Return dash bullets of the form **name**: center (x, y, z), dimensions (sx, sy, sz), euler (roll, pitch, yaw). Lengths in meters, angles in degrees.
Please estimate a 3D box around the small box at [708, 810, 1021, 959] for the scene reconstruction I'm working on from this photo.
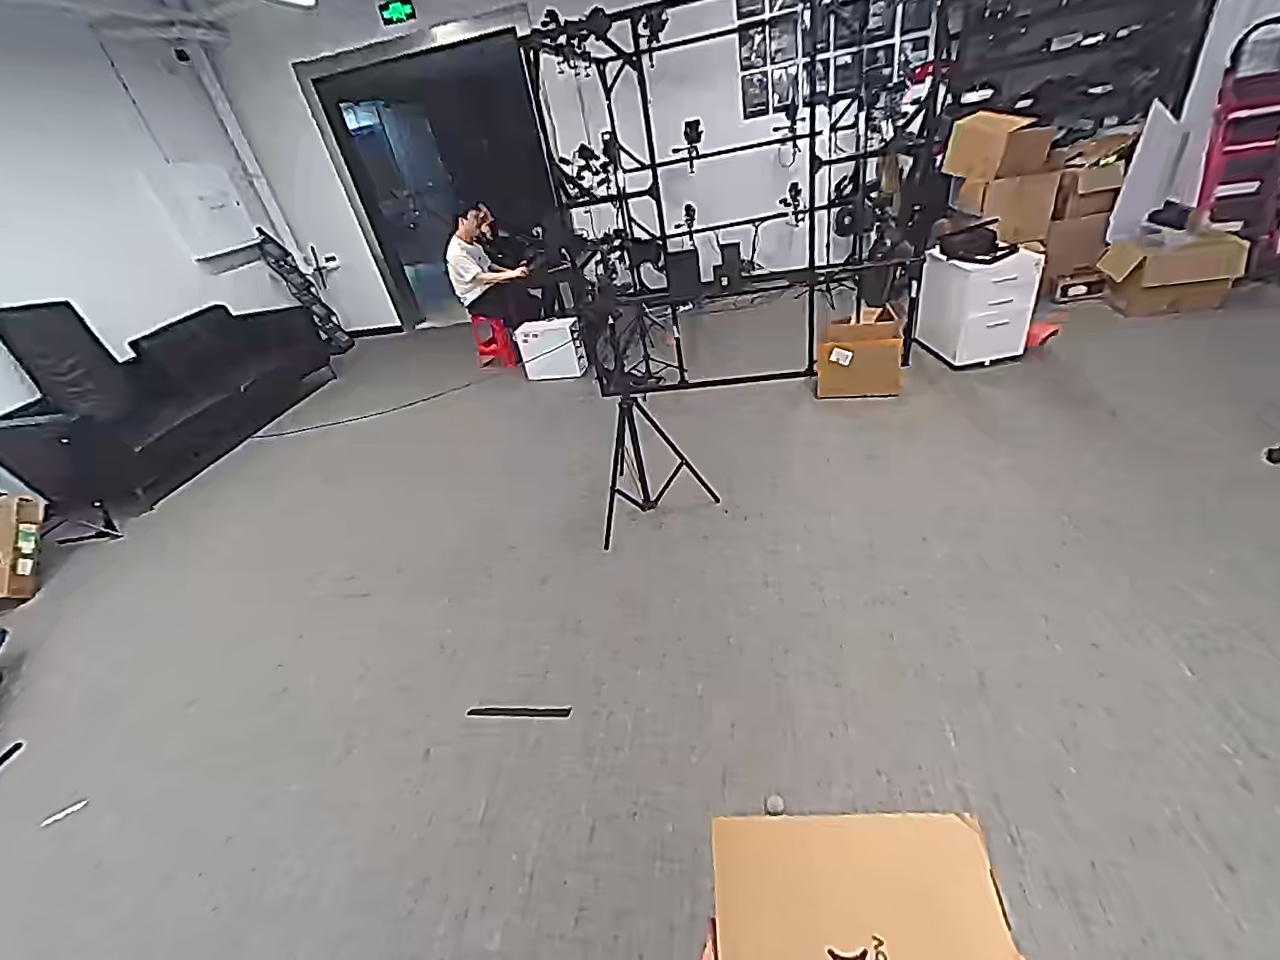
- **small box**: center (0.148, 0.336, 0.377), dimensions (0.179, 0.176, 0.168), euler (-7, 52, 10)
